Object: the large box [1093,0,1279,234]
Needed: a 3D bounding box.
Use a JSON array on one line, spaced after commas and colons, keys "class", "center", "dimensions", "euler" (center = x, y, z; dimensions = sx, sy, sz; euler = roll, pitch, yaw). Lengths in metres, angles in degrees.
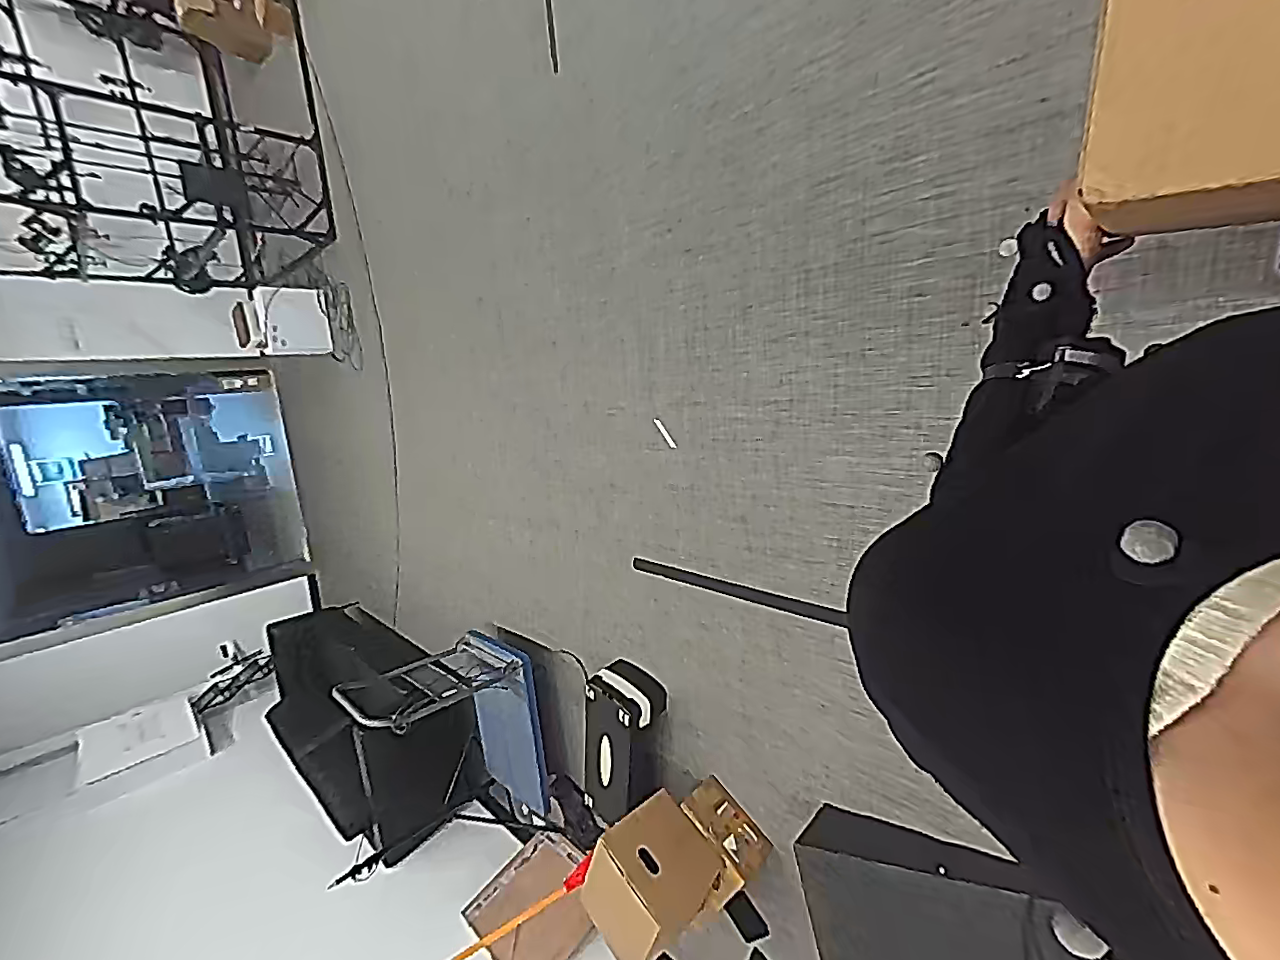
[{"class": "large box", "center": [0.438, -0.293, 0.190], "dimensions": [0.408, 0.320, 0.320], "euler": [9, 113, 39]}]
